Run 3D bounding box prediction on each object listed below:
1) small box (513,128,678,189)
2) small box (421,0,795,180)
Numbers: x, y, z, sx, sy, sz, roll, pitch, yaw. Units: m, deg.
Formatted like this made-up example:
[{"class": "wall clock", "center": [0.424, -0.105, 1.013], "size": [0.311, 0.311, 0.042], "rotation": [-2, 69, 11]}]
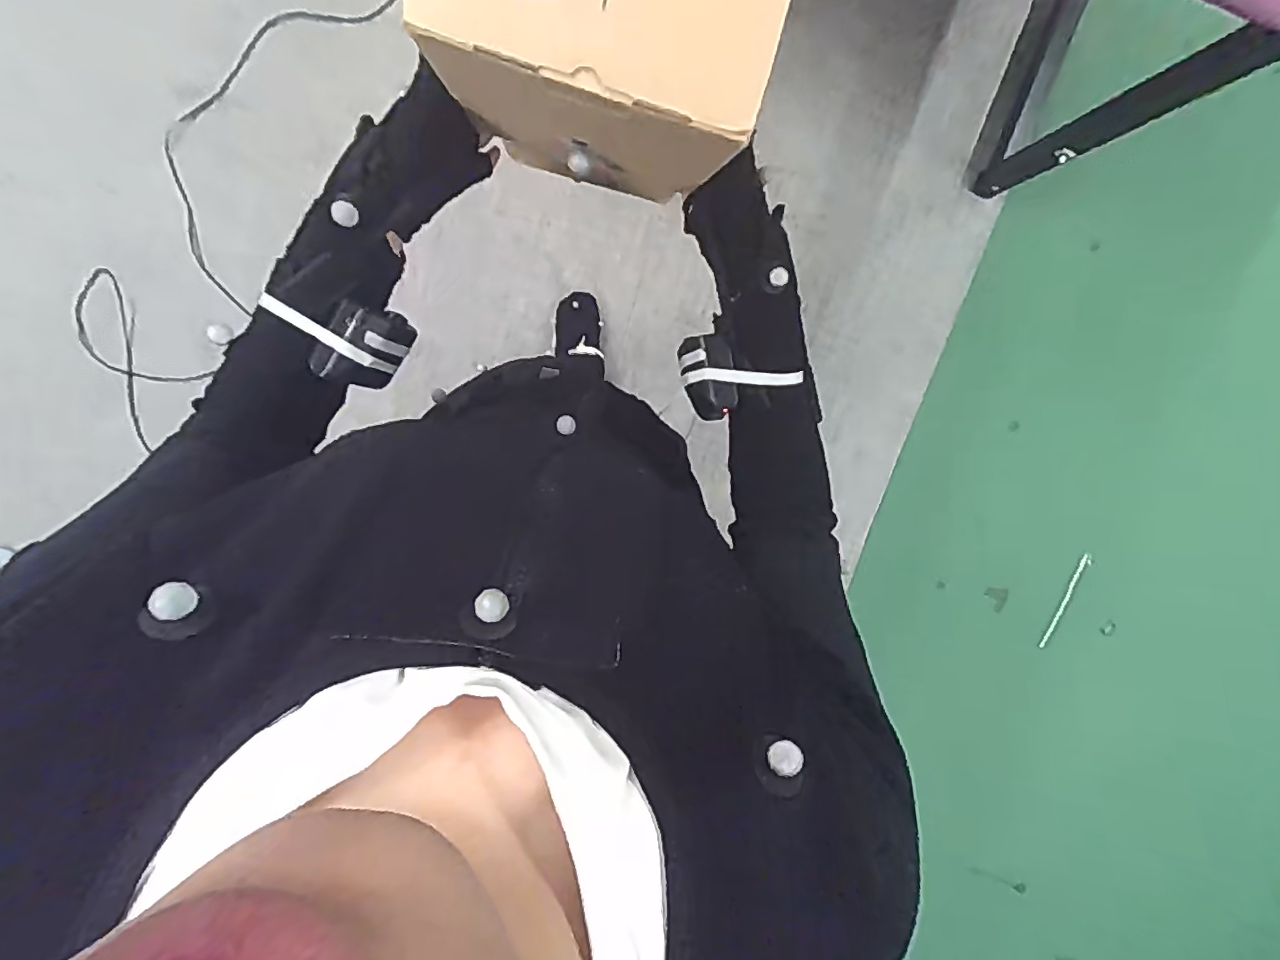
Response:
[{"class": "small box", "center": [-0.019, -0.365, 0.446], "size": [0.168, 0.176, 0.179], "rotation": [10, 109, -11]}, {"class": "small box", "center": [-0.008, -0.293, 0.297], "size": [0.168, 0.176, 0.179], "rotation": [12, 109, -11]}]
